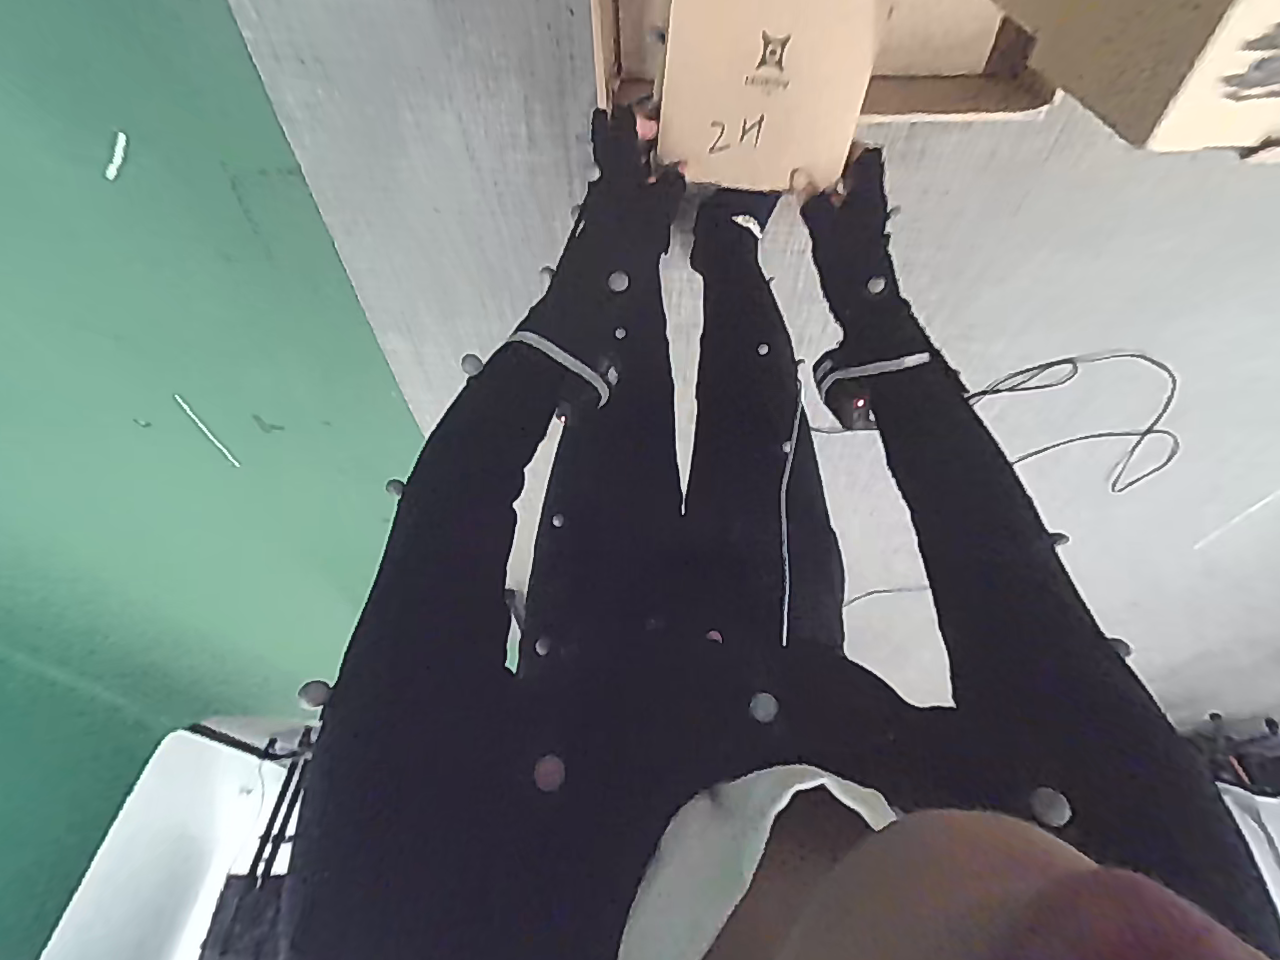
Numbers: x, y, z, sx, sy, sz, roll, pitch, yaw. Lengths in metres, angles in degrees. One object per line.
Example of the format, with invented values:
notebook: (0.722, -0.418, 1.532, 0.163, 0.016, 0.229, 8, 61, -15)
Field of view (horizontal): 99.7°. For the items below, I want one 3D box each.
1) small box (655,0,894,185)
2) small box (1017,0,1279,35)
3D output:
small box: (0.104, -0.385, 0.481, 0.168, 0.176, 0.179, 4, 131, -3)
small box: (0.372, -0.436, 0.364, 0.168, 0.176, 0.179, 2, 142, 2)
